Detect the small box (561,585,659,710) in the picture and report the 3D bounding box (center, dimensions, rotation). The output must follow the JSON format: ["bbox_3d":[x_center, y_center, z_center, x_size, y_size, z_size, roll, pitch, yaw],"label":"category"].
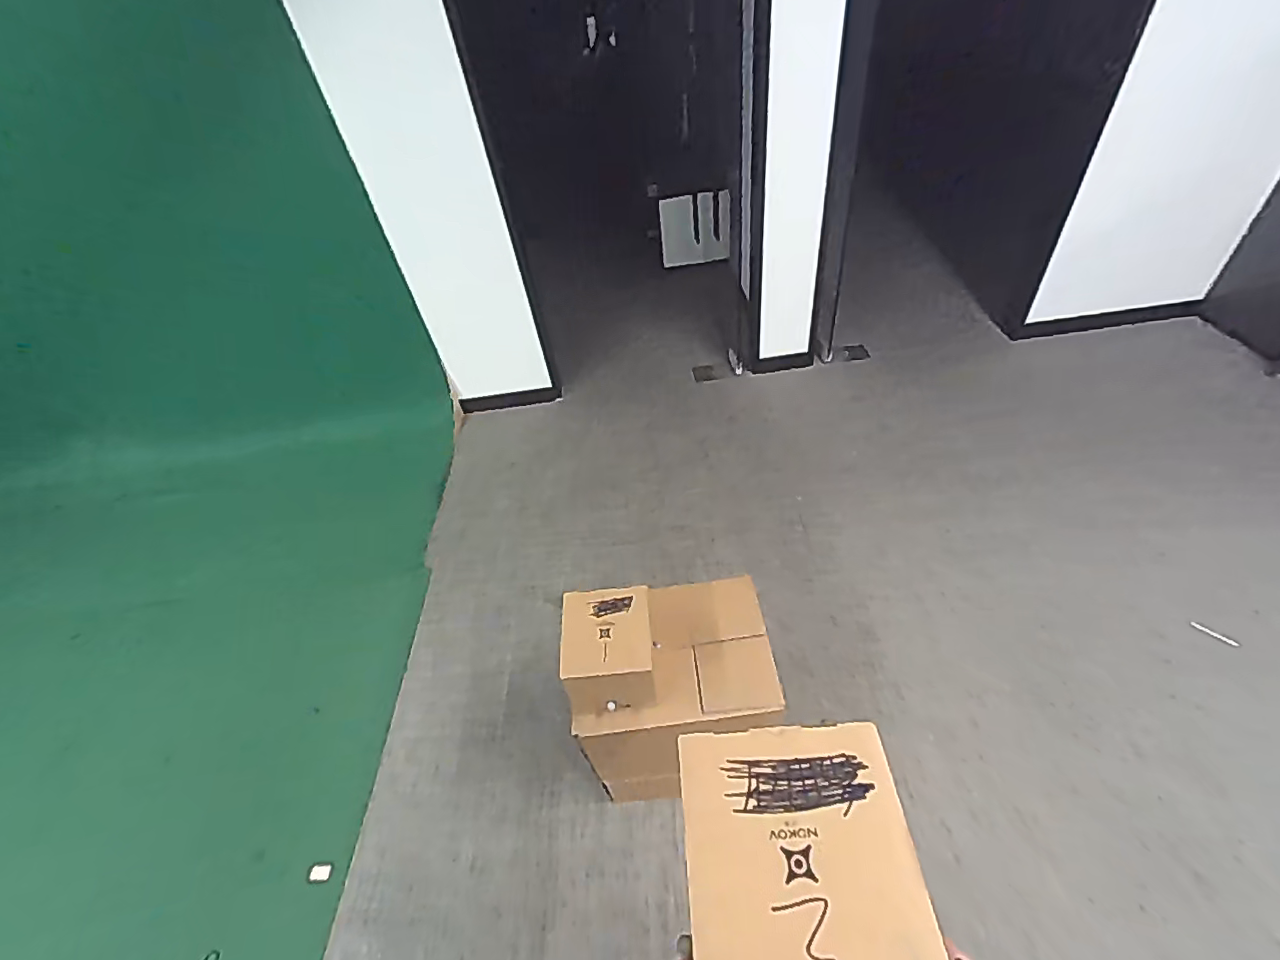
[{"bbox_3d":[-0.053,0.328,1.057,0.168,0.176,0.179,-6,48,3],"label":"small box"}]
